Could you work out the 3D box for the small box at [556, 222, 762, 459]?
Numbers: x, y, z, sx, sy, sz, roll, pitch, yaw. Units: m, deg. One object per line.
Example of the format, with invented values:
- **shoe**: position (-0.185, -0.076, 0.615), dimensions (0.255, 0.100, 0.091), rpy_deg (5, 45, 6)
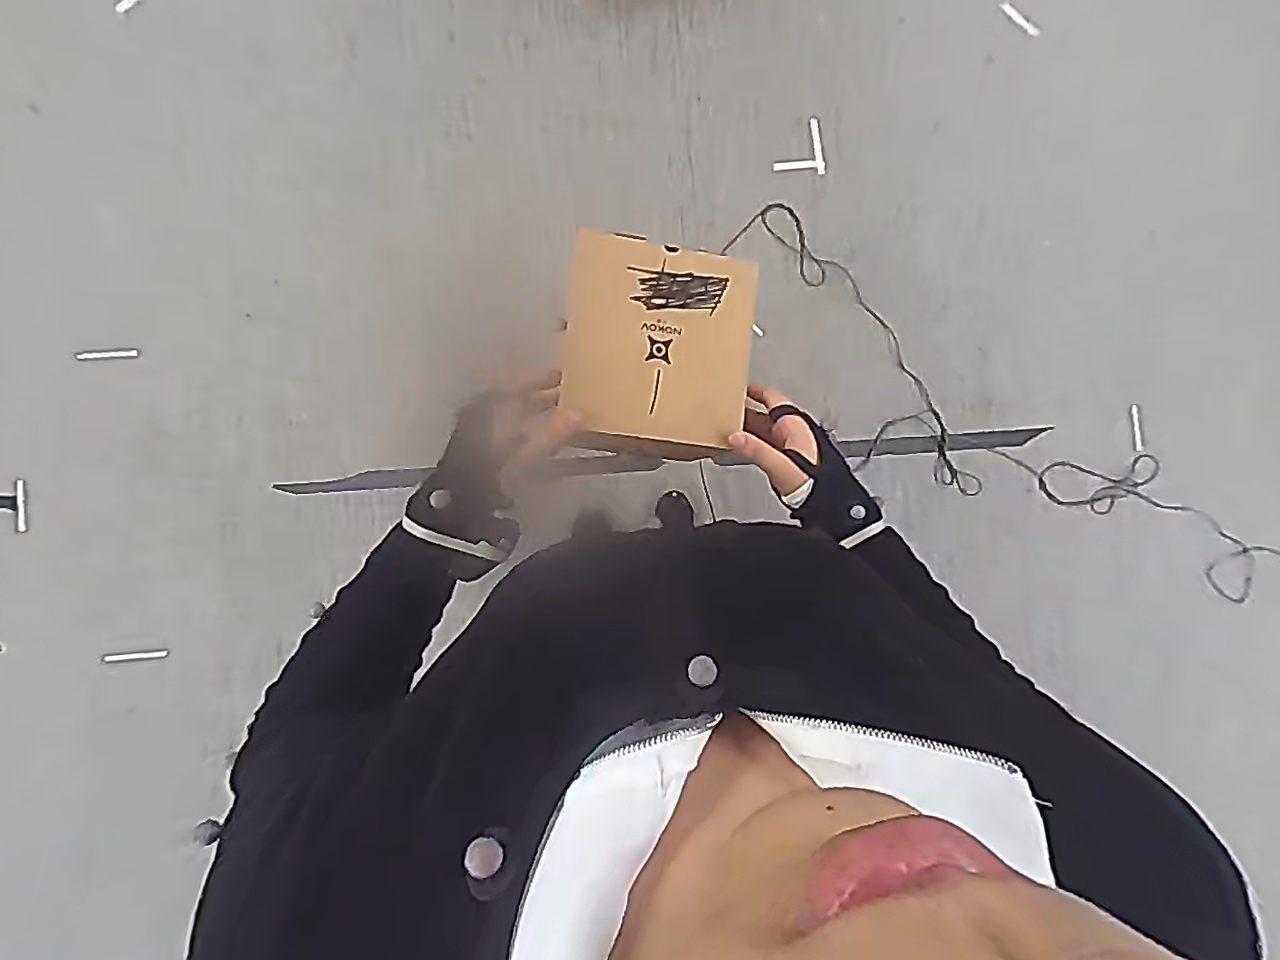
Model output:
- **small box**: position (0.007, -0.122, 0.545), dimensions (0.168, 0.176, 0.179), rpy_deg (7, 88, -10)
